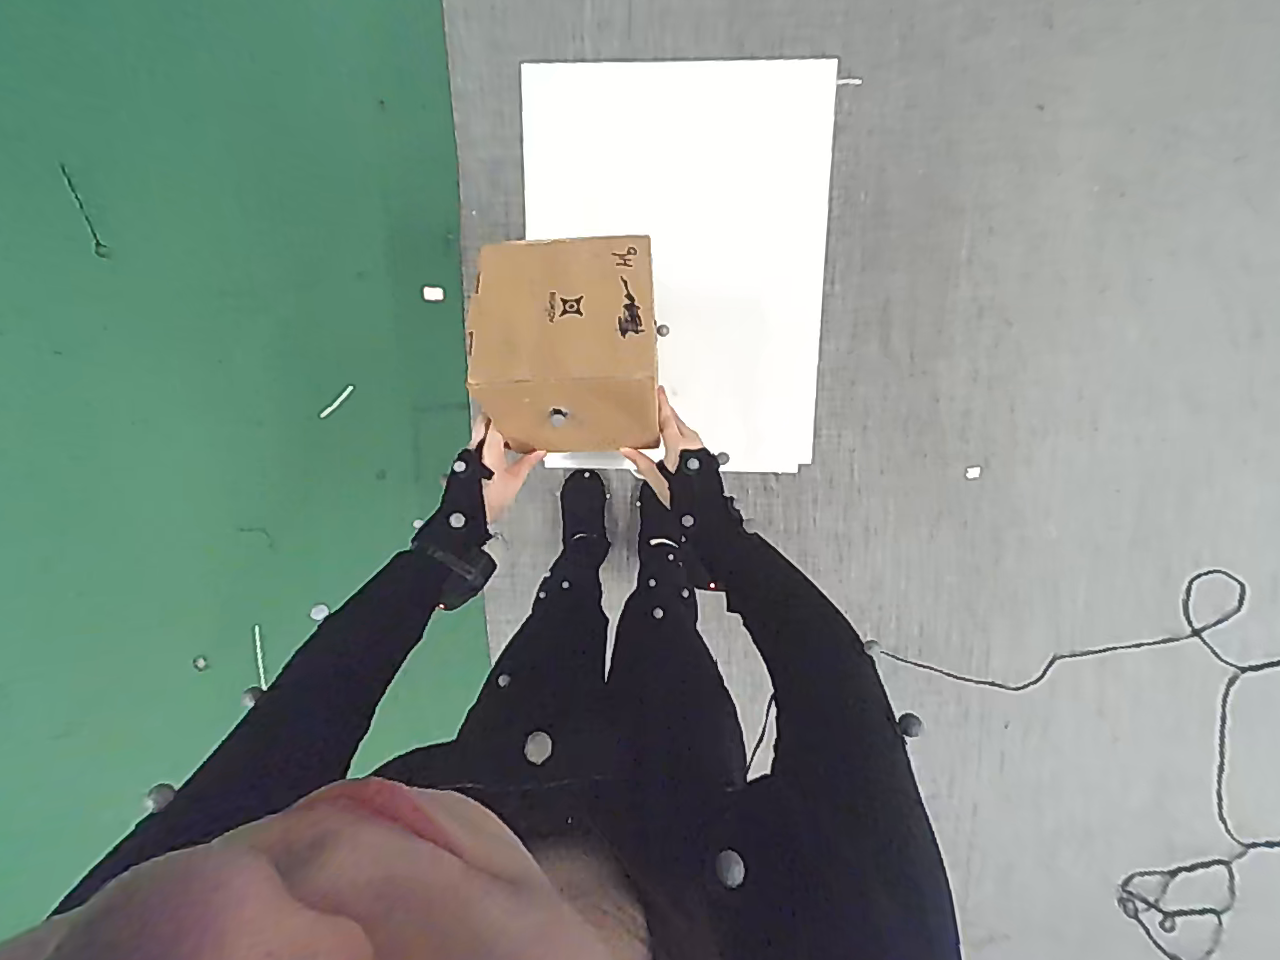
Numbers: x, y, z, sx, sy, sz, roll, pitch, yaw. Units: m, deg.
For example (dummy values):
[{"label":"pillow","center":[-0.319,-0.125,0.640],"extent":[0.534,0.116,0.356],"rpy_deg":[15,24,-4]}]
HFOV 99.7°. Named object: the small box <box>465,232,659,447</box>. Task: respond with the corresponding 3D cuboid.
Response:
[{"label":"small box","center":[-0.071,-0.143,0.597],"extent":[0.179,0.176,0.168],"rpy_deg":[-3,71,3]}]
